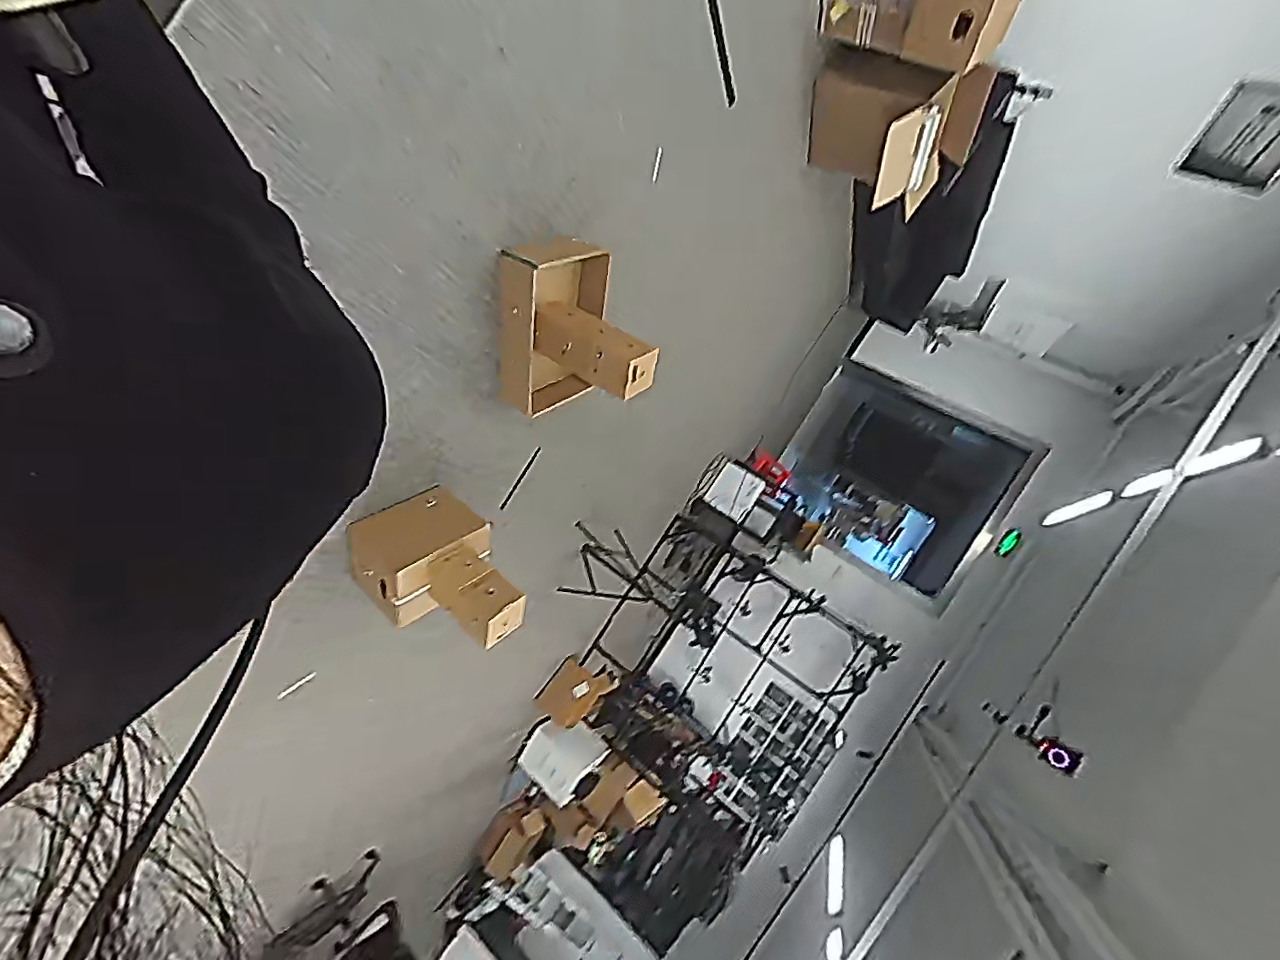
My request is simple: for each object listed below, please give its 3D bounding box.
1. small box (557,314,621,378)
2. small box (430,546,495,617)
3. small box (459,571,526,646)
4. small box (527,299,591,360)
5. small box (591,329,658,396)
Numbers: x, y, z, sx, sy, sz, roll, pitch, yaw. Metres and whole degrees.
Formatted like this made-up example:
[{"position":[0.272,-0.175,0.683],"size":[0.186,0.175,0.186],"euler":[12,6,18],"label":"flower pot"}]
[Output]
[{"position":[-0.193,-0.518,2.069],"size":[0.179,0.176,0.168],"euler":[-34,147,-43],"label":"small box"},{"position":[-0.664,0.368,2.013],"size":[0.168,0.176,0.179],"euler":[-32,147,-45],"label":"small box"},{"position":[-0.537,0.455,1.956],"size":[0.168,0.176,0.179],"euler":[-31,146,-45],"label":"small box"},{"position":[-0.320,-0.598,2.129],"size":[0.179,0.176,0.168],"euler":[-34,147,-44],"label":"small box"},{"position":[-0.062,-0.440,2.008],"size":[0.179,0.176,0.168],"euler":[-37,150,-43],"label":"small box"}]
